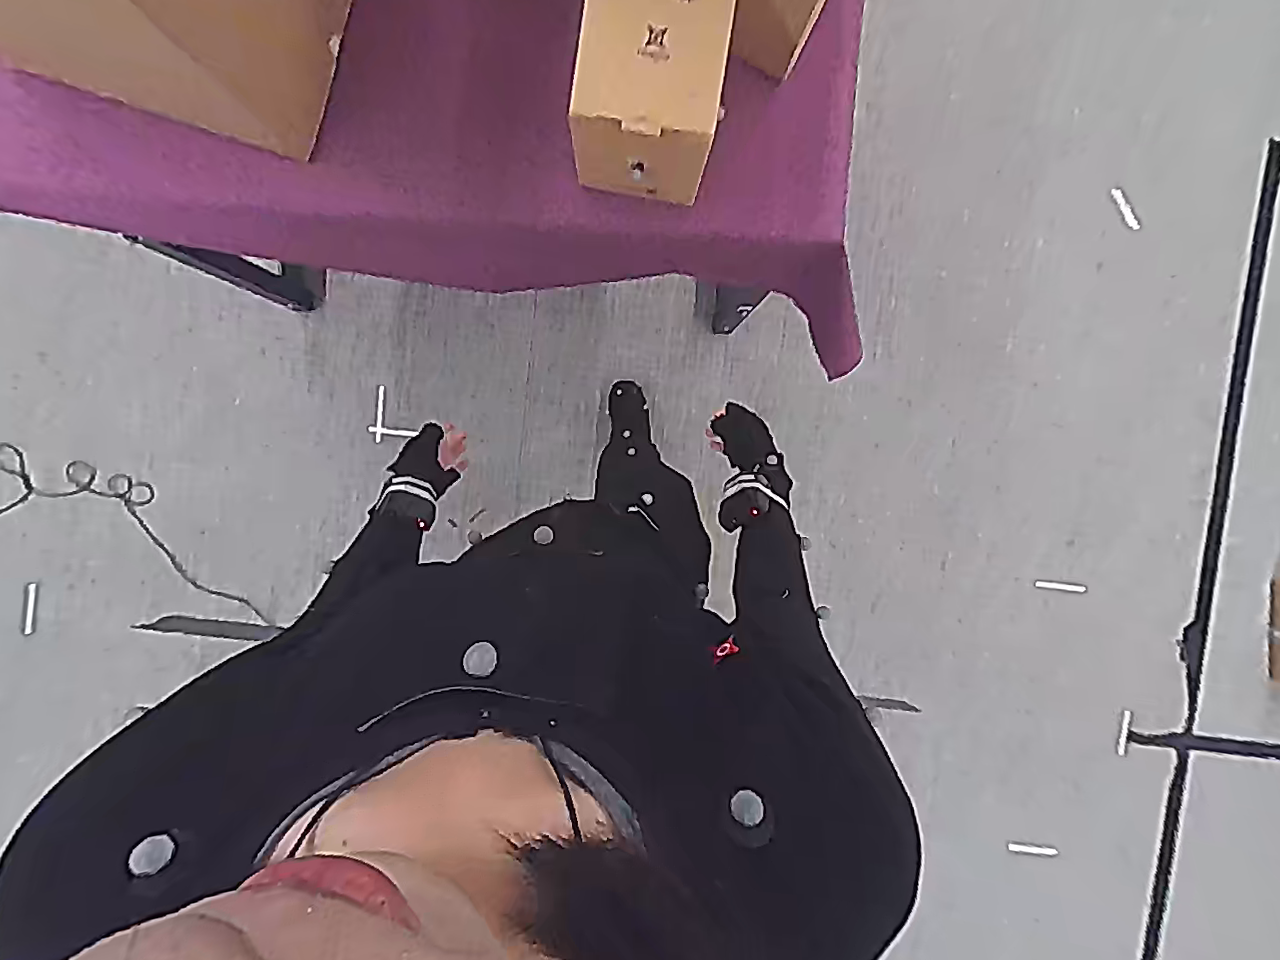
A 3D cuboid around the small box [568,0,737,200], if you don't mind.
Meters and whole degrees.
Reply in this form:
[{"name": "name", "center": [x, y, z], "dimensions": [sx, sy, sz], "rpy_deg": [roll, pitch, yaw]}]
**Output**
[{"name": "small box", "center": [0.013, -0.478, 0.670], "dimensions": [0.168, 0.176, 0.179], "rpy_deg": [9, 92, -3]}]
